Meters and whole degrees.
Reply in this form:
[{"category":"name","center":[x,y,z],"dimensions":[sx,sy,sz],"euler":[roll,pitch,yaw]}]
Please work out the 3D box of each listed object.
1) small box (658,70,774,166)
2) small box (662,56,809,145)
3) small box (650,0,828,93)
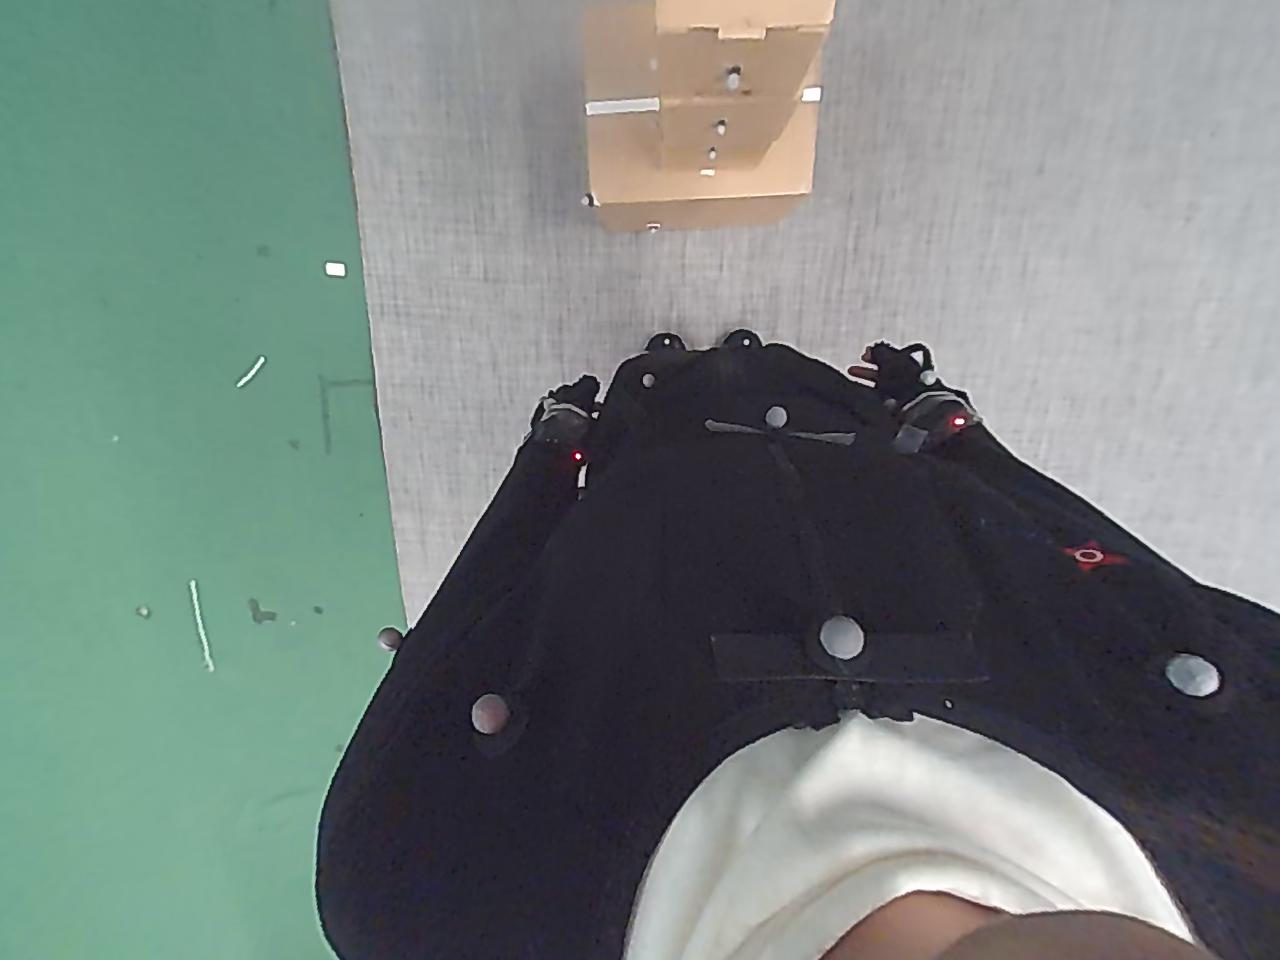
[{"category":"small box","center":[0.121,-0.617,0.871],"dimensions":[0.179,0.176,0.168],"euler":[1,108,3]},{"category":"small box","center":[0.117,-0.564,0.716],"dimensions":[0.179,0.176,0.168],"euler":[-3,107,4]},{"category":"small box","center":[0.103,-0.526,0.557],"dimensions":[0.168,0.176,0.179],"euler":[4,108,4]}]
